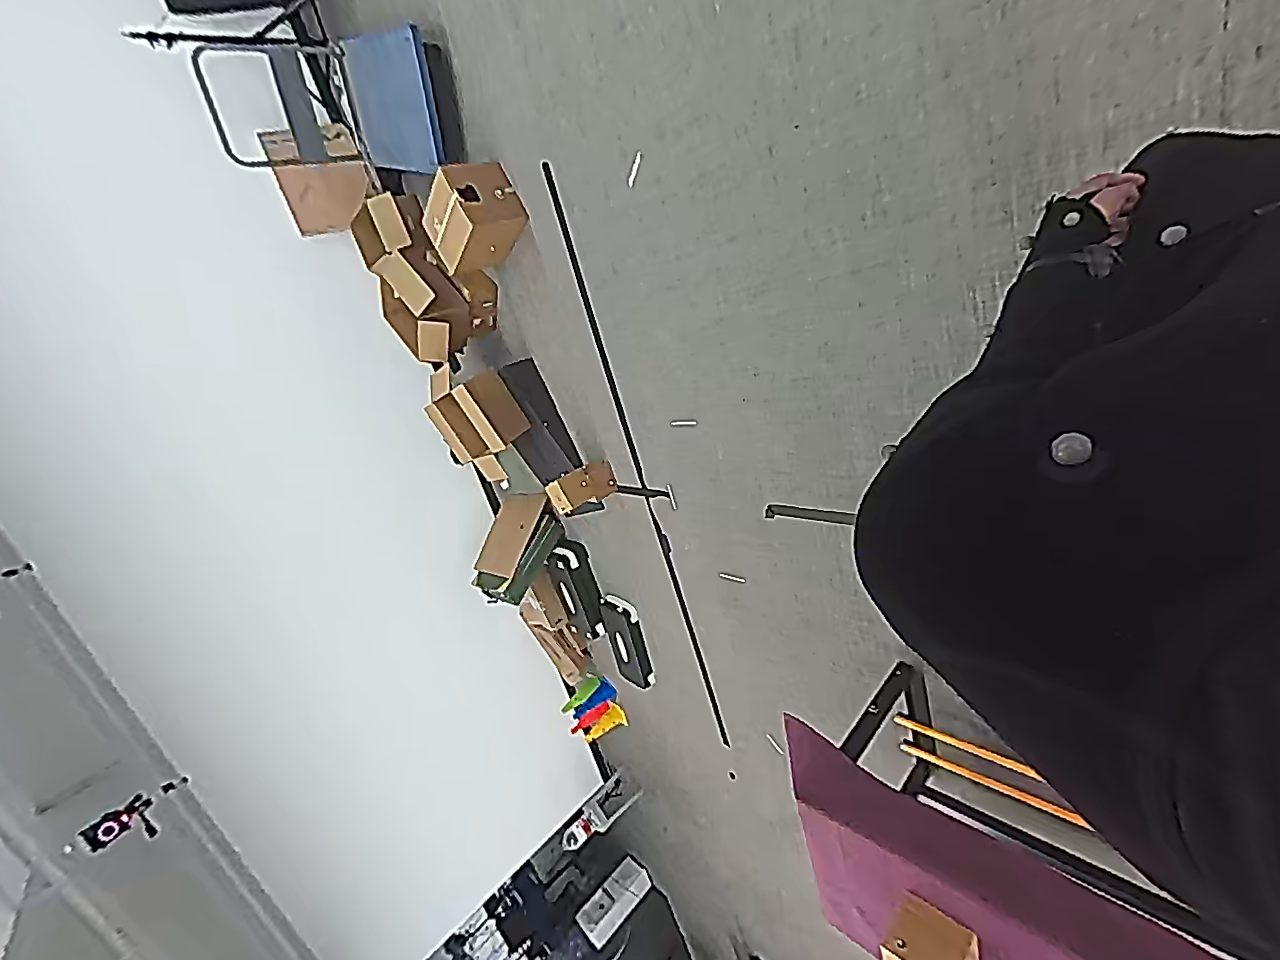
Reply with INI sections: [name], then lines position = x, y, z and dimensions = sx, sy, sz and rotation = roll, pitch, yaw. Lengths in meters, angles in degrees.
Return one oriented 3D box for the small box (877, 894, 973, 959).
[small box]
position = 0.746, 1.237, 1.401
dimensions = 0.179, 0.176, 0.168
rotation = 8, 121, 49
